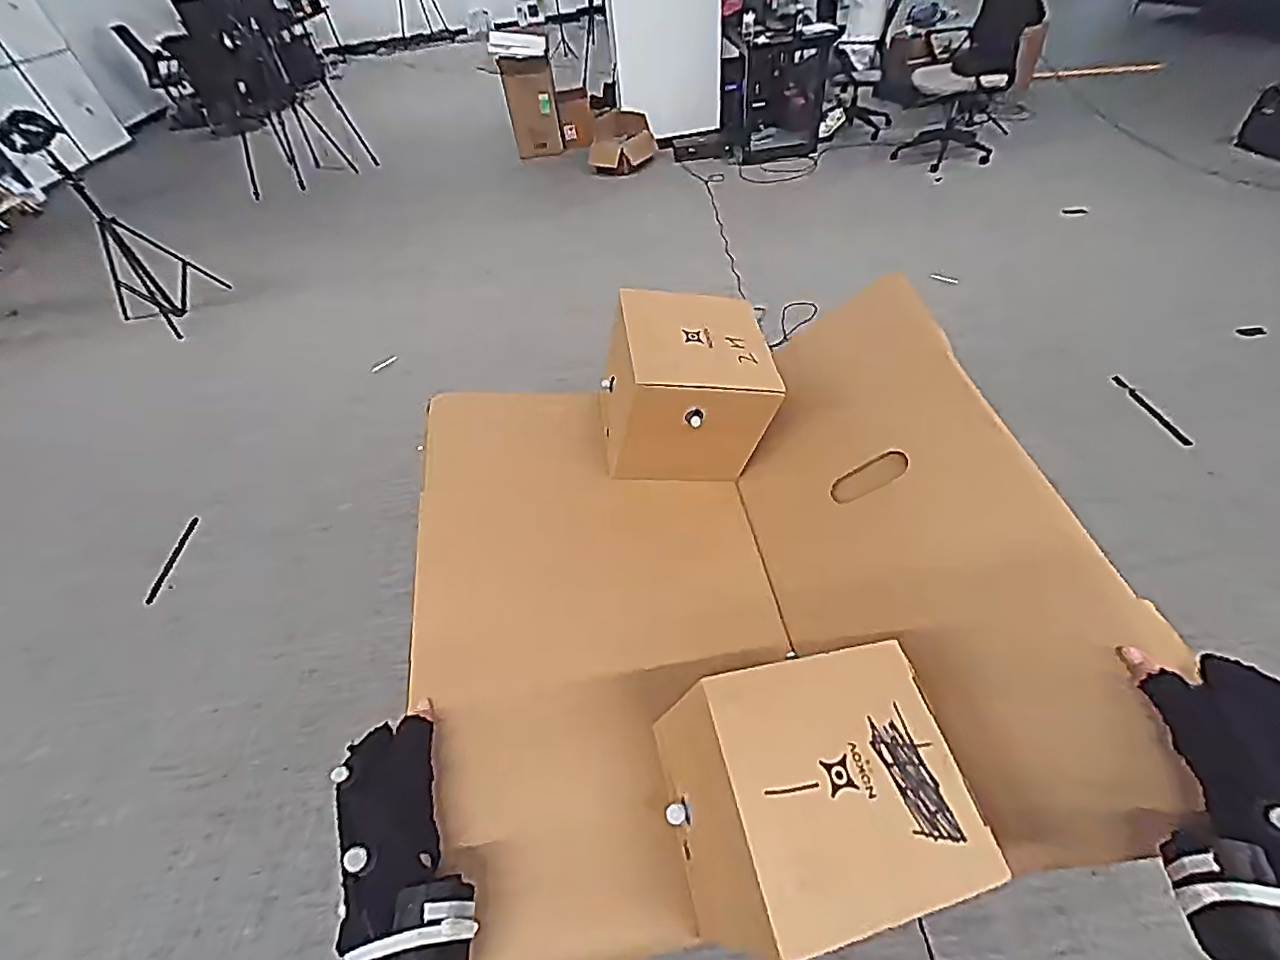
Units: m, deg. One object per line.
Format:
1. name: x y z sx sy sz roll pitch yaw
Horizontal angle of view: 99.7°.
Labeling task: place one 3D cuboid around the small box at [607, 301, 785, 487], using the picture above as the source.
1. small box: 0.055 -0.103 0.690 0.179 0.176 0.168 1 54 -13
